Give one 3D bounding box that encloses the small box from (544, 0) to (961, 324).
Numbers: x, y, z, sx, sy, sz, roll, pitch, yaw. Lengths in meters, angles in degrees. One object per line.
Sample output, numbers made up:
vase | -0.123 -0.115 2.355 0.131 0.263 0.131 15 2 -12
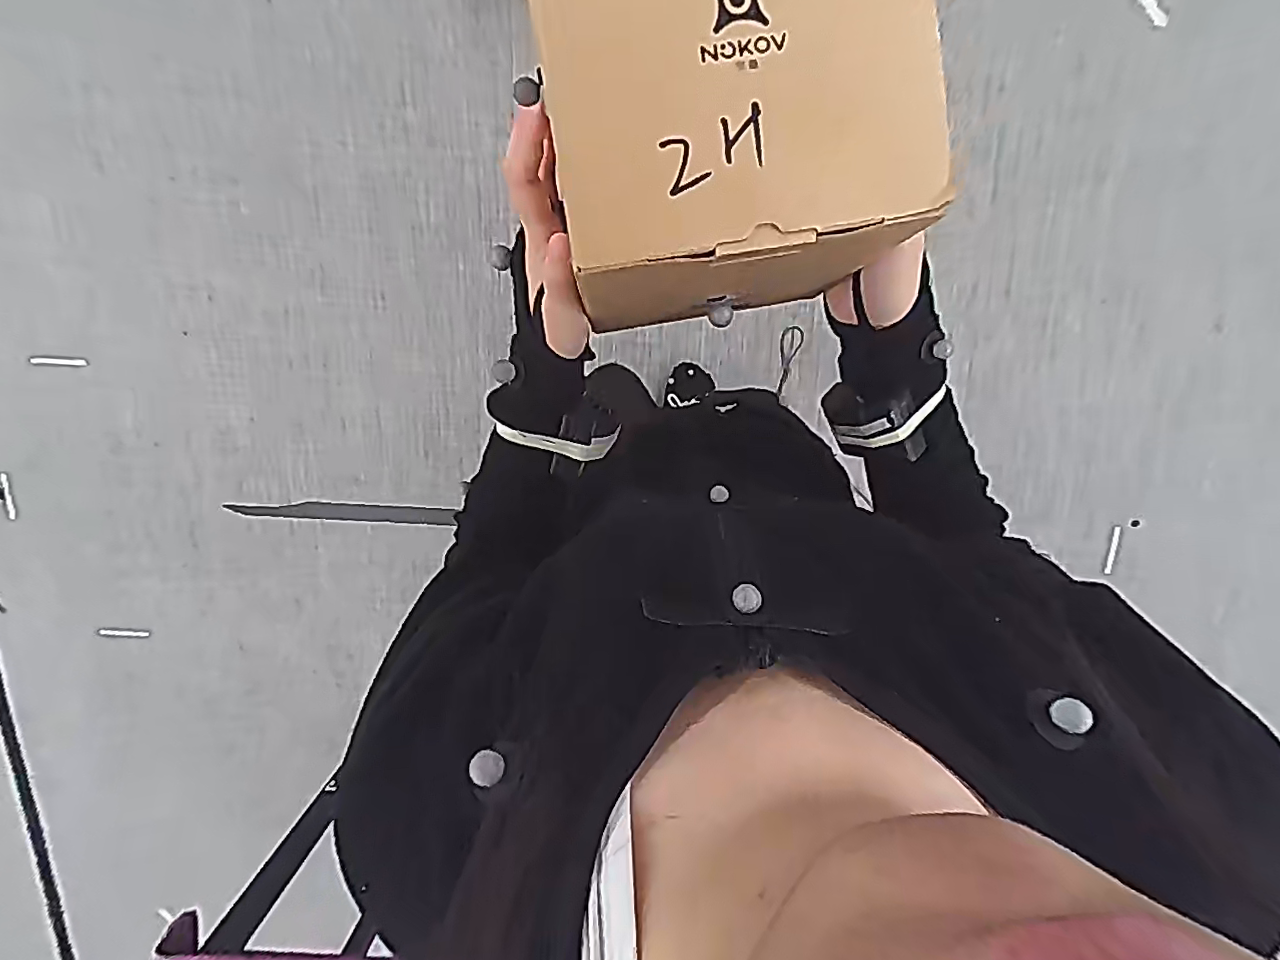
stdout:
small box | 0.040 -0.199 0.299 0.168 0.176 0.179 -10 97 -1
